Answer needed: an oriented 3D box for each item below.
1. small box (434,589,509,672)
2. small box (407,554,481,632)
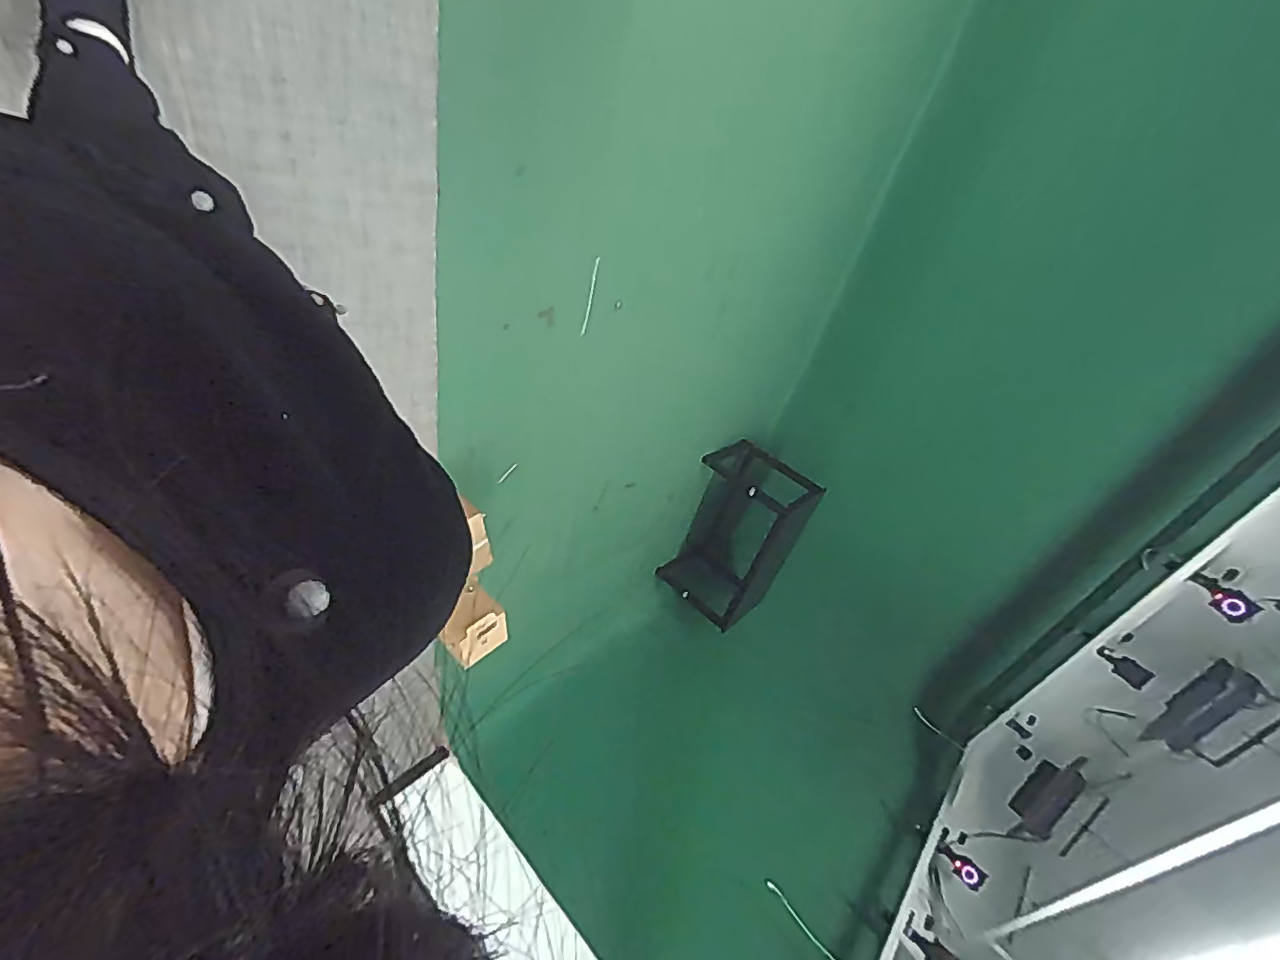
[{"bbox_3d":[-0.550,0.480,1.763,0.168,0.176,0.179,-32,145,-35],"label":"small box"},{"bbox_3d":[-0.659,0.385,1.840,0.179,0.176,0.168,-32,145,-34],"label":"small box"}]
